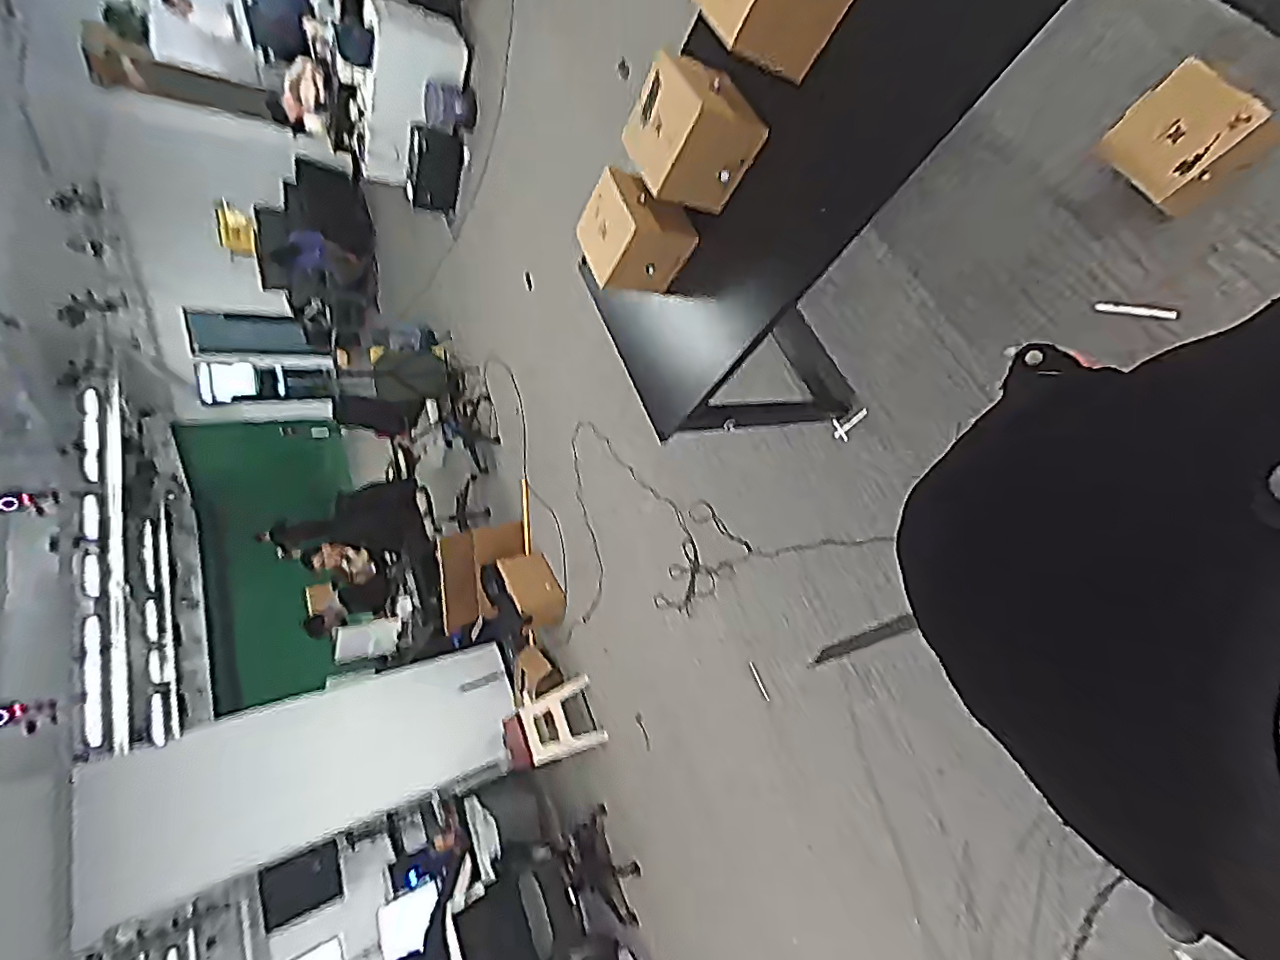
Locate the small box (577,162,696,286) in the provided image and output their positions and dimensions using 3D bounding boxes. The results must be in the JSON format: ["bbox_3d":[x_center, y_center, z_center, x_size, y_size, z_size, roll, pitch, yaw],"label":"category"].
[{"bbox_3d":[-0.008,-0.539,1.165,0.168,0.176,0.179,-44,61,48],"label":"small box"}]

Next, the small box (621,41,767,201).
[{"bbox_3d":[0.098,-0.649,0.999,0.168,0.176,0.179,-48,59,47],"label":"small box"}]

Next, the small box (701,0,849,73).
[{"bbox_3d":[0.214,-0.775,0.819,0.179,0.176,0.168,-49,56,48],"label":"small box"}]

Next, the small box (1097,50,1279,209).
[{"bbox_3d":[1.007,-0.629,0.993,0.168,0.176,0.179,-50,57,47],"label":"small box"}]
